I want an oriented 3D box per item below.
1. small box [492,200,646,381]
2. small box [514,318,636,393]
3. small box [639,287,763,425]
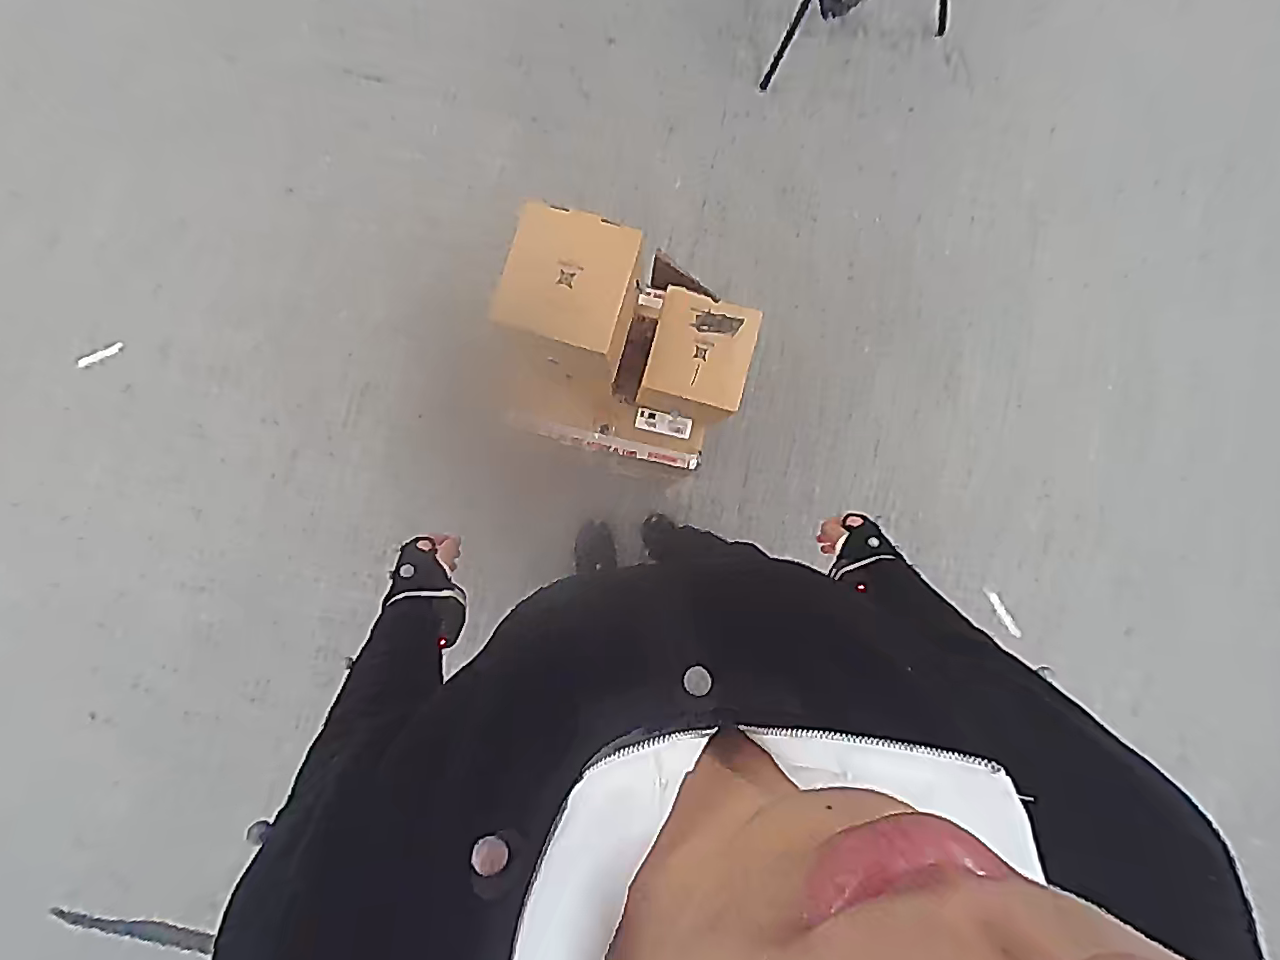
[{"bbox_3d":[-0.094,-0.264,0.791,0.168,0.176,0.179,16,88,2],"label":"small box"},{"bbox_3d":[-0.104,-0.265,0.955,0.168,0.176,0.179,16,88,1],"label":"small box"},{"bbox_3d":[0.098,-0.209,0.960,0.168,0.176,0.179,15,87,-2],"label":"small box"}]
